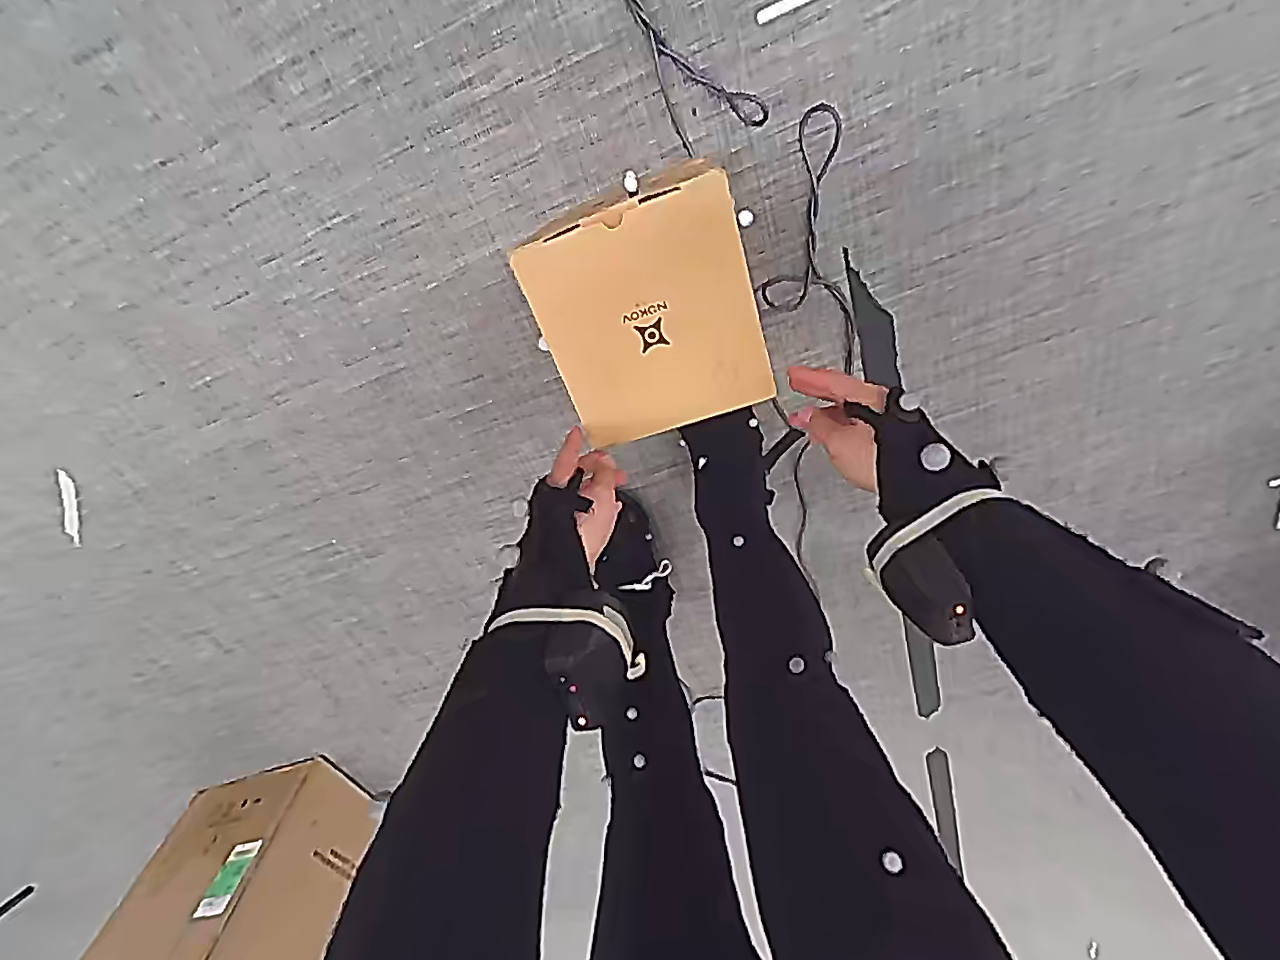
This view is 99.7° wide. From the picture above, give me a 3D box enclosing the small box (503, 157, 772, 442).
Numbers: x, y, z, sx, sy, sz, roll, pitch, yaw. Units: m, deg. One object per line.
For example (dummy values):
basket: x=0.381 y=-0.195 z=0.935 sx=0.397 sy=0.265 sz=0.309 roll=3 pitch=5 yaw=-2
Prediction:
small box: x=0.008 y=-0.165 z=0.480 sx=0.168 sy=0.176 sz=0.179 roll=-16 pitch=119 yaw=12
